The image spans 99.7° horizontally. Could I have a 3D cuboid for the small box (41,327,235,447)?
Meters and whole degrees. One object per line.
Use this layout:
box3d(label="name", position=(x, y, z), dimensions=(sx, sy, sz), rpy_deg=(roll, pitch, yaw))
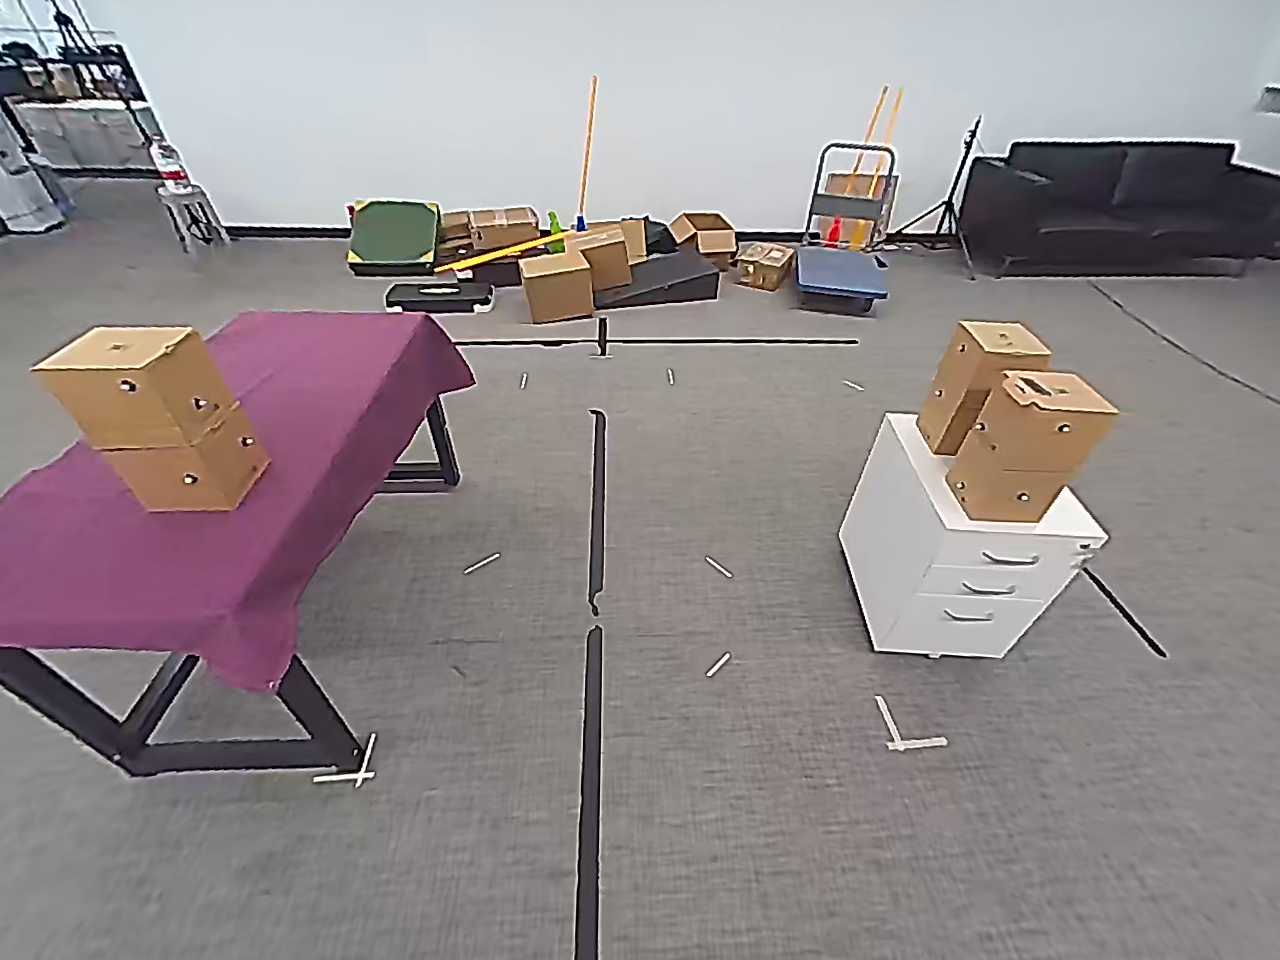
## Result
box3d(label="small box", position=(-0.916, -0.173, 1.011), dimensions=(0.179, 0.176, 0.168), rpy_deg=(-1, 40, -5))

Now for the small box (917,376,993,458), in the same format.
box3d(label="small box", position=(0.933, -0.180, 1.550), dimensions=(0.179, 0.176, 0.168), rpy_deg=(4, 41, 1))

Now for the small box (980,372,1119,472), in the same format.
box3d(label="small box", position=(0.921, -0.132, 1.245), dimensions=(0.179, 0.176, 0.168), rpy_deg=(3, 41, -1))

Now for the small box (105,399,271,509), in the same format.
box3d(label="small box", position=(-0.914, -0.053, 1.120), dimensions=(0.179, 0.176, 0.168), rpy_deg=(-1, 40, -3))

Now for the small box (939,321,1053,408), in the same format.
box3d(label="small box", position=(0.934, -0.305, 1.441), dimensions=(0.168, 0.176, 0.179), rpy_deg=(3, 42, 2))
